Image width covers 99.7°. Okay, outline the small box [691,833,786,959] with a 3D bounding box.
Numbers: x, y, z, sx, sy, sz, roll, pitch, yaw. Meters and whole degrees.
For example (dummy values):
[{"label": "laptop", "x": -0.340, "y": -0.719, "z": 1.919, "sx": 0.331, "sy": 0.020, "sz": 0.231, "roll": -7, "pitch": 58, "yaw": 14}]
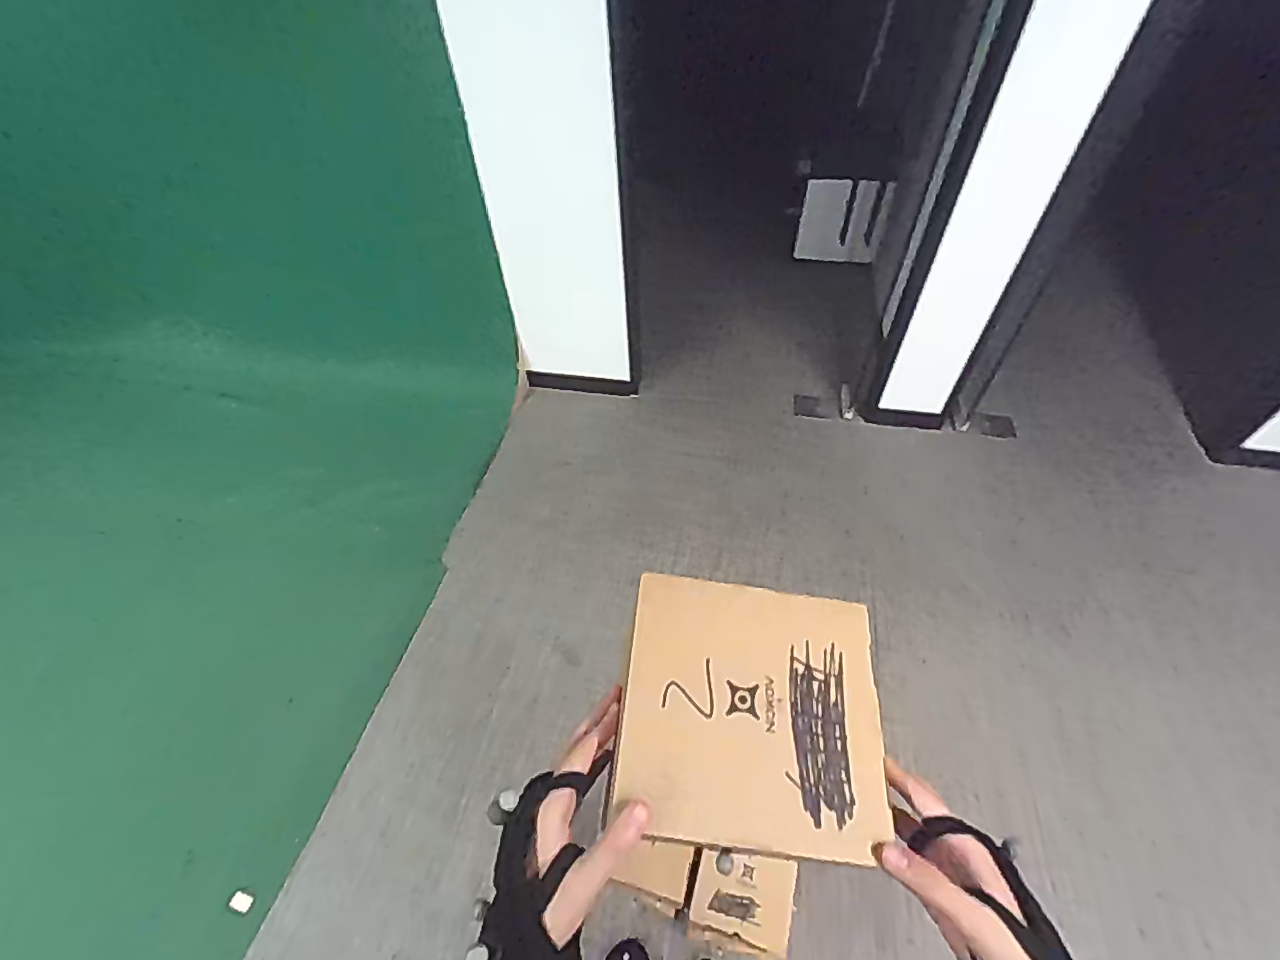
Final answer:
[{"label": "small box", "x": 0.200, "y": 0.862, "z": 1.118, "sx": 0.168, "sy": 0.176, "sz": 0.179, "roll": 9, "pitch": 51, "yaw": 11}]
